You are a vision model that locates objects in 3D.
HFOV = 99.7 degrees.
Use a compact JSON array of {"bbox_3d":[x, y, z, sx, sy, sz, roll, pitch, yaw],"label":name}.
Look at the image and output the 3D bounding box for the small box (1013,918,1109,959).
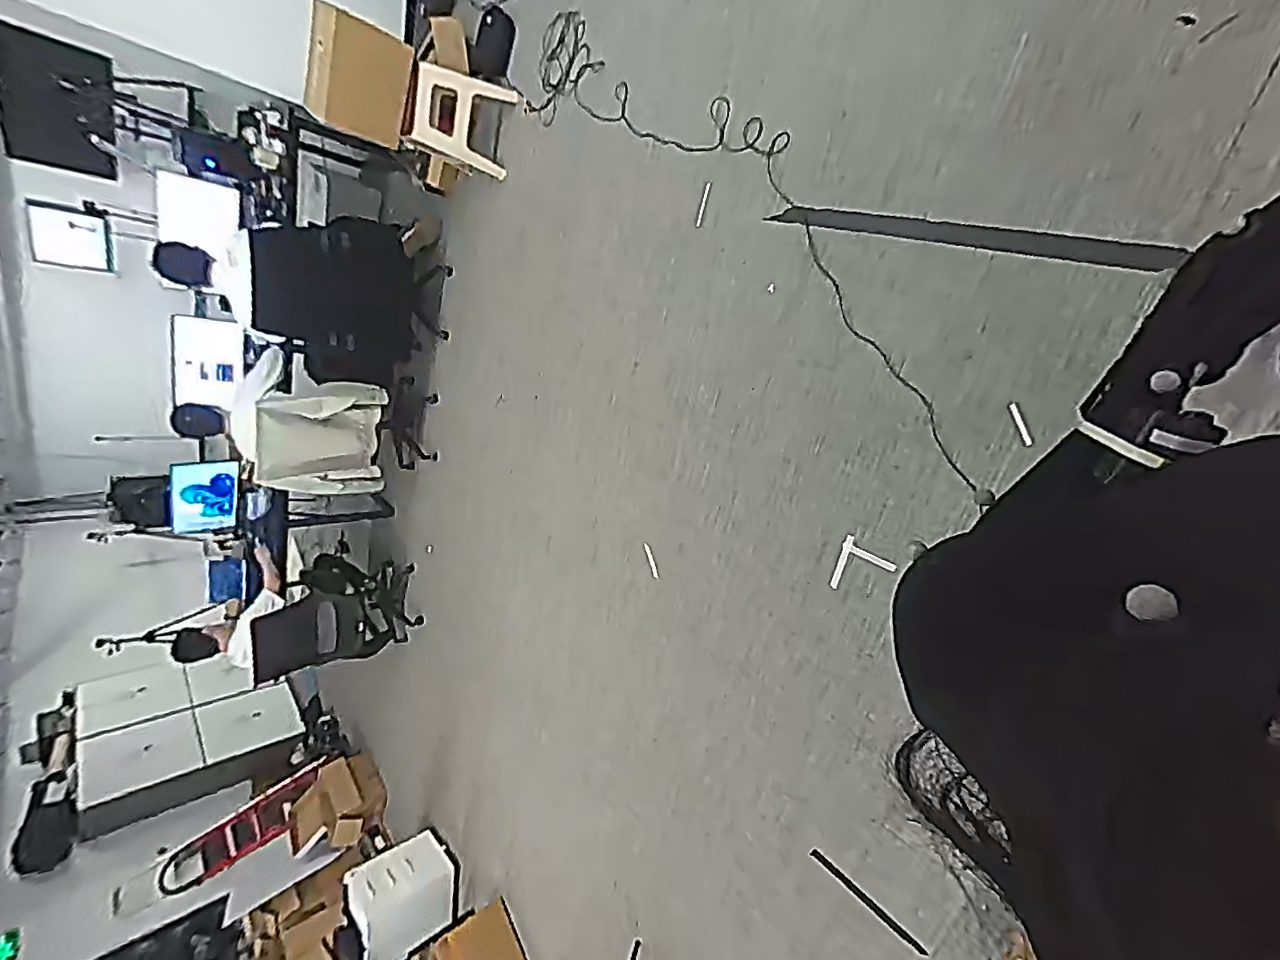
[{"bbox_3d":[0.973,1.162,1.240,0.179,0.176,0.168,29,114,40],"label":"small box"}]
